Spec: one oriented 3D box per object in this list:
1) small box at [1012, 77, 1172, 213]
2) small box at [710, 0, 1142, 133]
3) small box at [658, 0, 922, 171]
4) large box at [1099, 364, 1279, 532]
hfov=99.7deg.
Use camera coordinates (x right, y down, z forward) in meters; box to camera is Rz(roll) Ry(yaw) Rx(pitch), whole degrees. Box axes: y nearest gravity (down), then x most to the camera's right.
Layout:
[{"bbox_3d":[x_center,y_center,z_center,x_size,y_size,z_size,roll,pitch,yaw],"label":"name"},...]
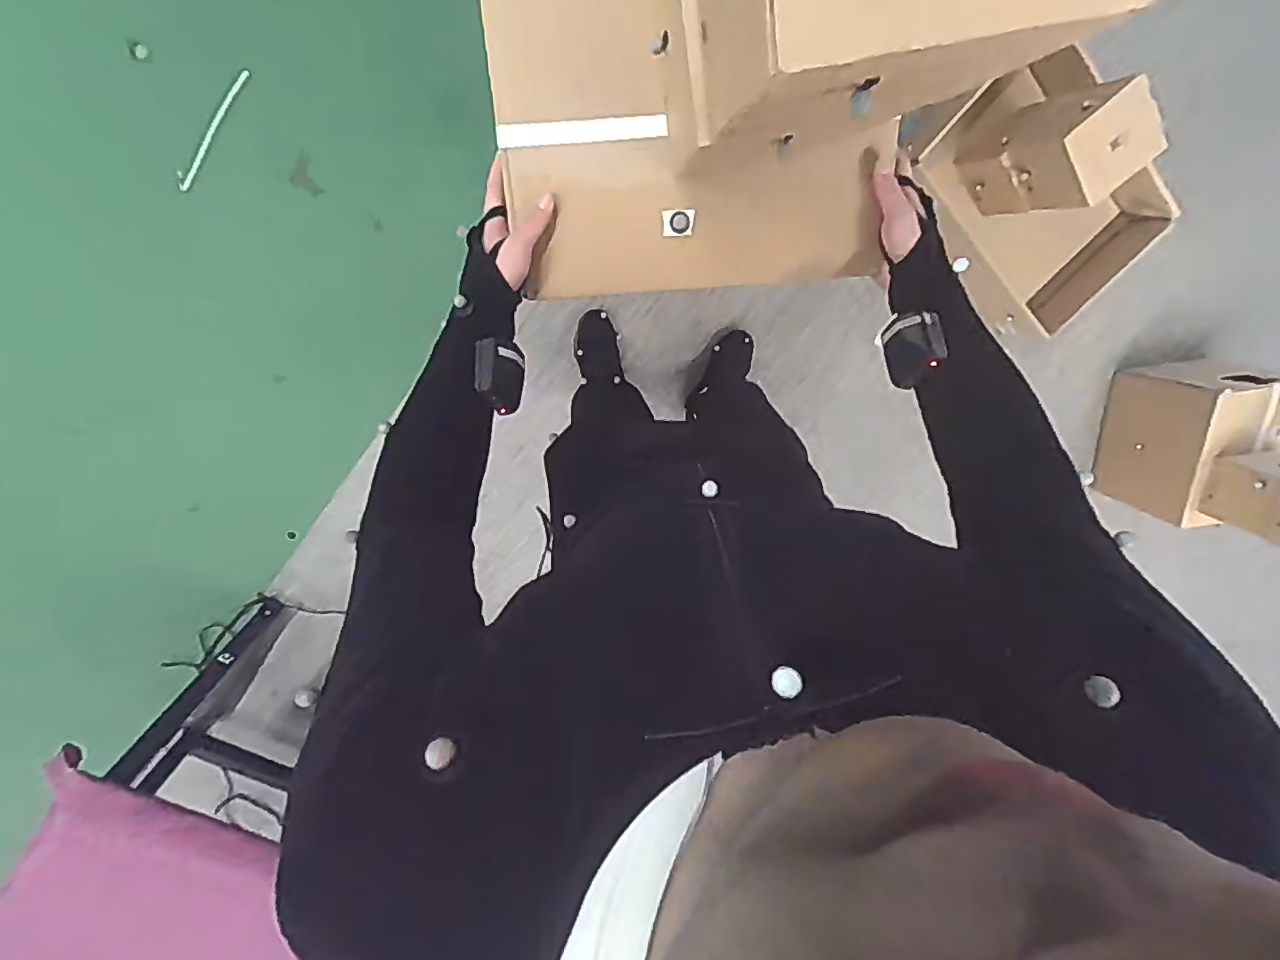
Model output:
[{"bbox_3d":[0.954,-0.700,1.153,0.179,0.176,0.168,-40,112,11],"label":"small box"},{"bbox_3d":[0.129,-0.303,0.284,0.179,0.176,0.168,-9,113,2],"label":"small box"},{"bbox_3d":[0.111,-0.364,0.436,0.179,0.176,0.168,-10,113,1],"label":"small box"},{"bbox_3d":[1.660,-0.107,1.602,0.320,0.320,0.408,-9,110,-3],"label":"large box"}]
